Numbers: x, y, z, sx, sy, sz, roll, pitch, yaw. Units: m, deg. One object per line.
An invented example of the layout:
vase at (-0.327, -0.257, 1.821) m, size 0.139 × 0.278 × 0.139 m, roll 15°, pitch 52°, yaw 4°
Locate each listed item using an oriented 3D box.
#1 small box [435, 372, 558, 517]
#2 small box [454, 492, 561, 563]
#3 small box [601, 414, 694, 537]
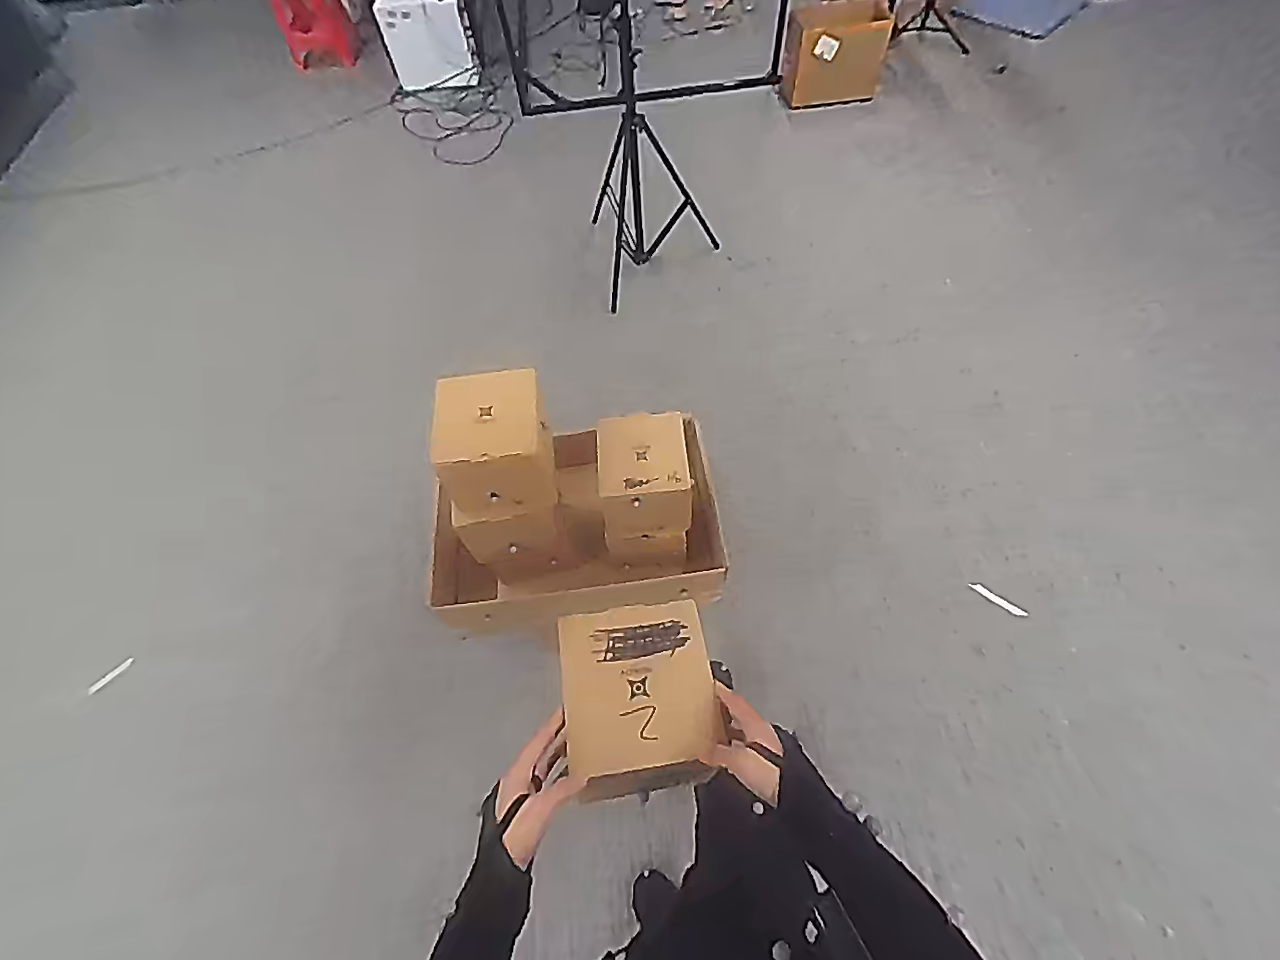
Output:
small box at (-0.237, -0.058, 0.926) m, size 0.168 × 0.176 × 0.179 m, roll -8°, pitch 60°, yaw -3°
small box at (-0.256, 0.041, 1.057) m, size 0.168 × 0.176 × 0.179 m, roll -11°, pitch 60°, yaw -4°
small box at (0.014, -0.006, 1.060) m, size 0.168 × 0.176 × 0.179 m, roll -5°, pitch 59°, yaw 2°
